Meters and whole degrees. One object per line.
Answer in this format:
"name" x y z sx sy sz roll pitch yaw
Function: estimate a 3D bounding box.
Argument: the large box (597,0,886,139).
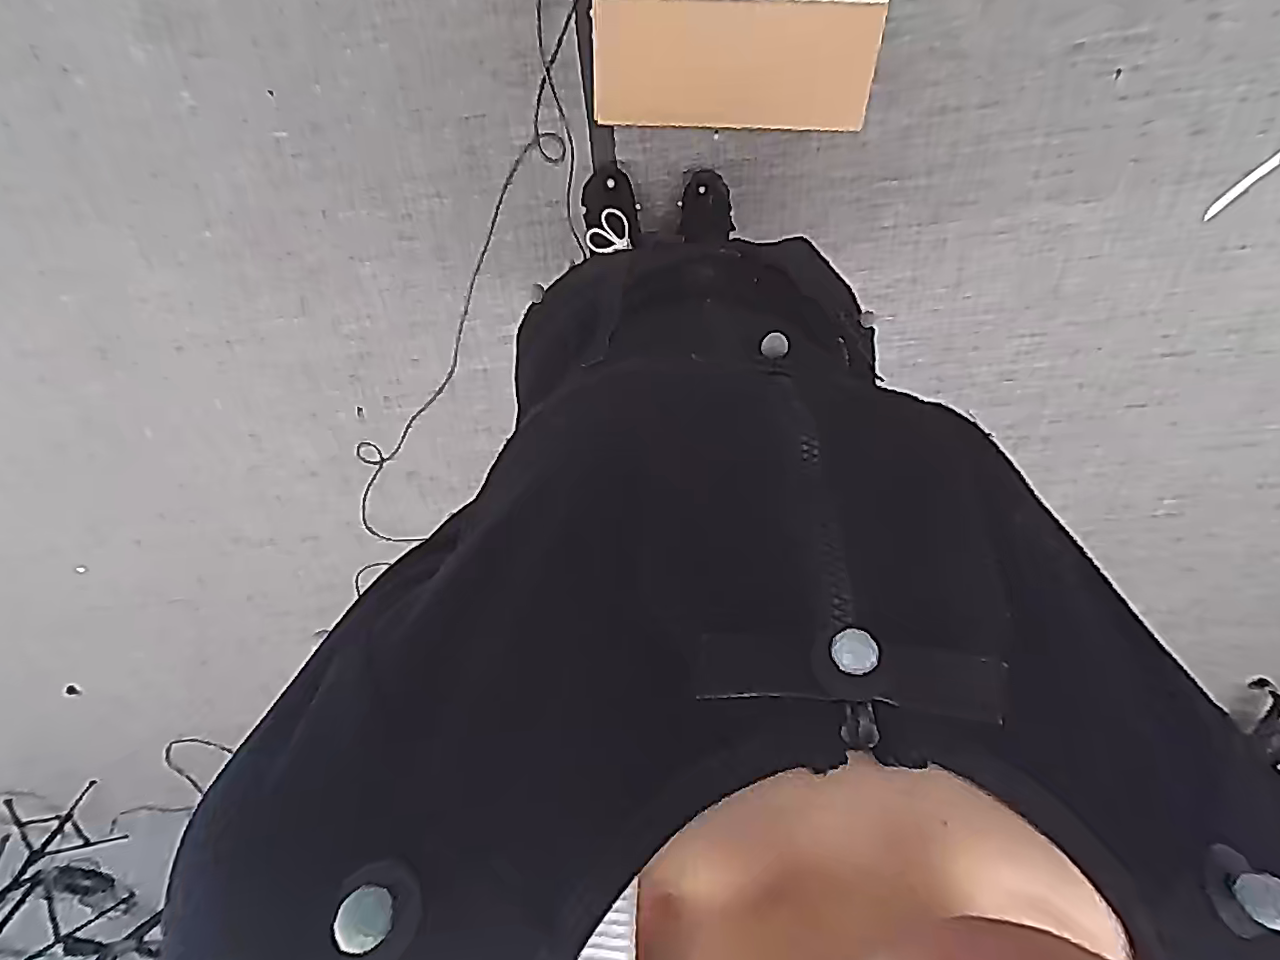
"large box" 0.137 -0.735 0.867 0.408 0.320 0.320 1 123 -1
